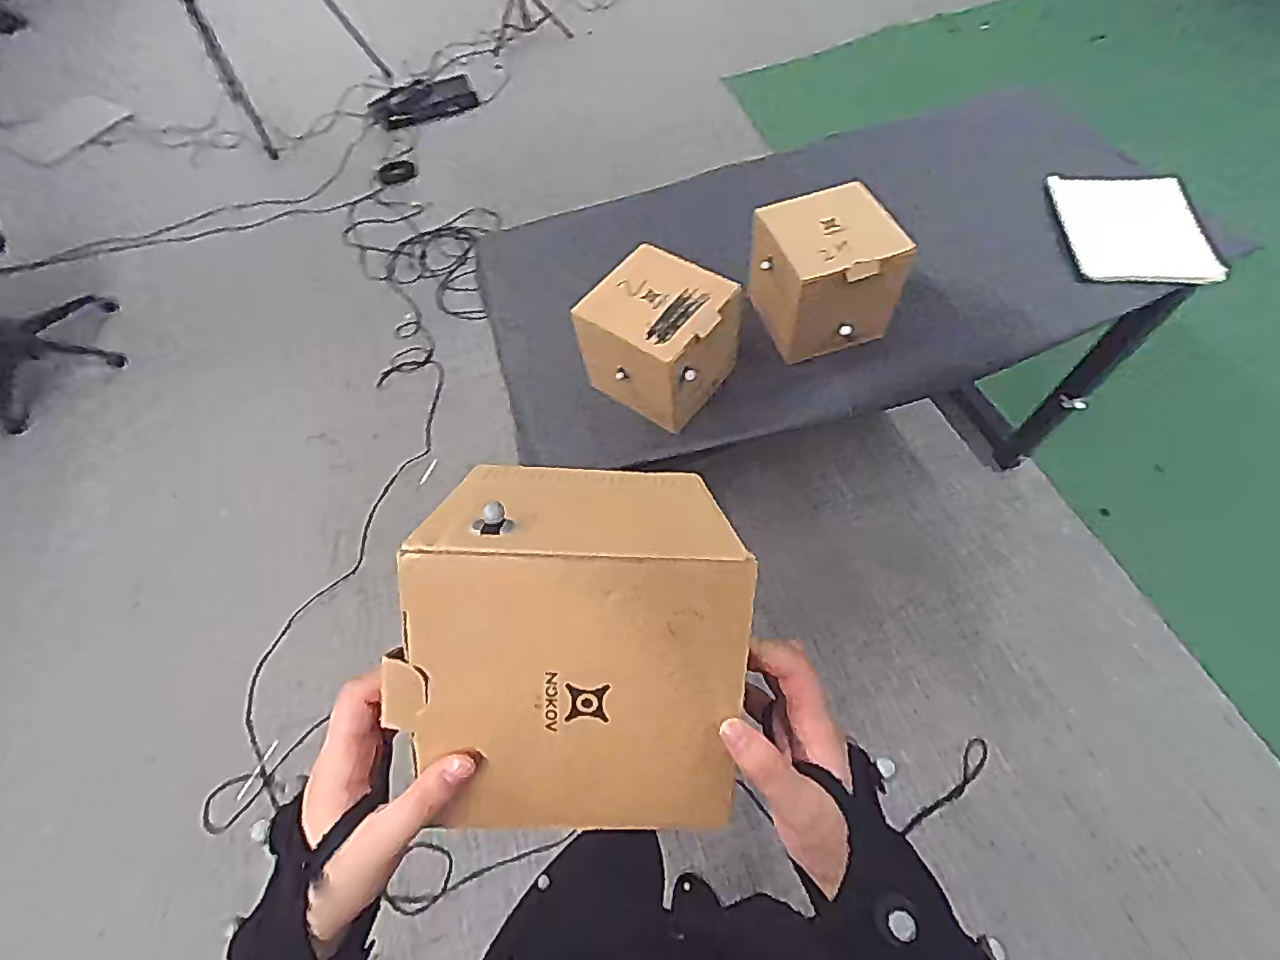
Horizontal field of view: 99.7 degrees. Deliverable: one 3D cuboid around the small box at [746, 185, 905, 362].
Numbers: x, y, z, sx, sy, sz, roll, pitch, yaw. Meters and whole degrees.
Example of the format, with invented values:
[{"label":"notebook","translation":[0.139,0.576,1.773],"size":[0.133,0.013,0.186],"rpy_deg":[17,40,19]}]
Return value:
[{"label":"small box","translation":[0.273,-0.318,0.847],"size":[0.168,0.176,0.179],"rpy_deg":[-18,60,-2]}]
